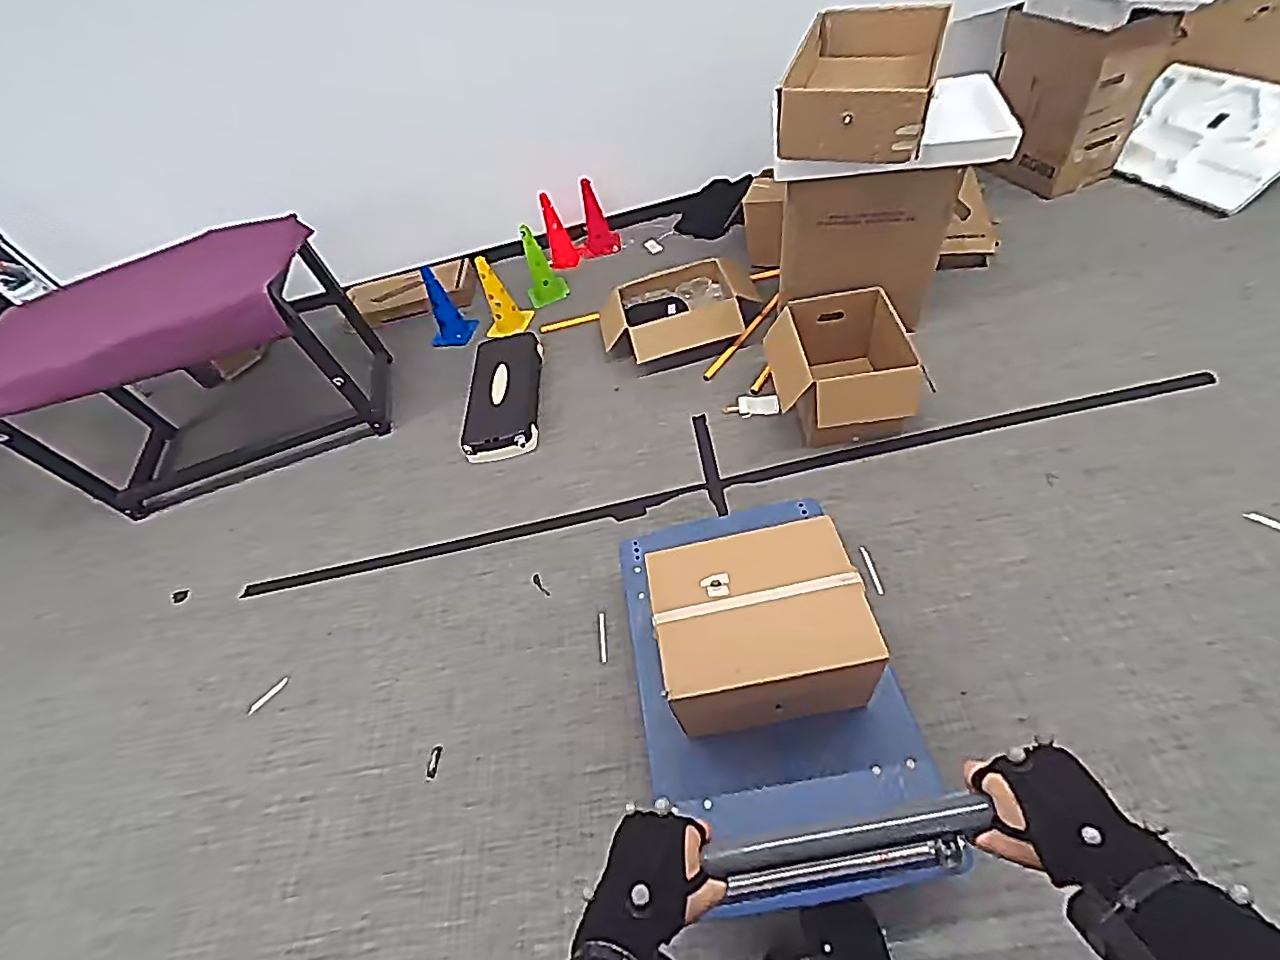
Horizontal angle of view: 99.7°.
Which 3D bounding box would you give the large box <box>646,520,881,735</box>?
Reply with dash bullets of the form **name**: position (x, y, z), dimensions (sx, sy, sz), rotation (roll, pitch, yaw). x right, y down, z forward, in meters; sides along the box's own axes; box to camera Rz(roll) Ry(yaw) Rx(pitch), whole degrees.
- **large box**: position (0.258, 0.336, 1.198), dimensions (0.408, 0.320, 0.320), rotation (-14, 50, 5)
